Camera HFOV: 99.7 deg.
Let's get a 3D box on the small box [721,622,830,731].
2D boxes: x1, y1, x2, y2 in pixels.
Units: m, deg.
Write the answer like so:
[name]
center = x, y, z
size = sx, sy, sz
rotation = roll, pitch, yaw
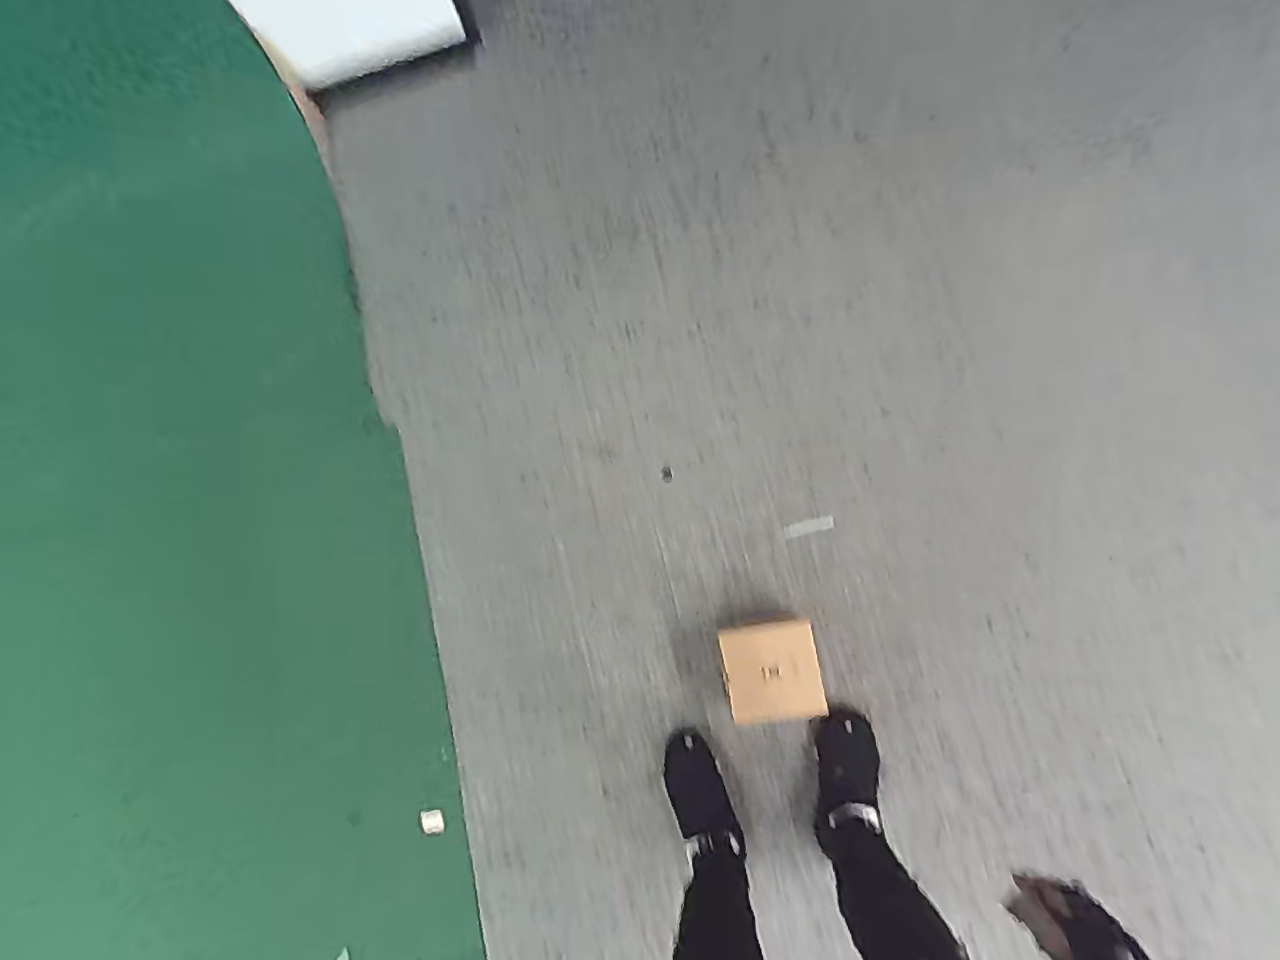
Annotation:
[small box]
center = 0.259, 0.384, 1.080
size = 0.179, 0.176, 0.168
rotation = -9, 81, 4
